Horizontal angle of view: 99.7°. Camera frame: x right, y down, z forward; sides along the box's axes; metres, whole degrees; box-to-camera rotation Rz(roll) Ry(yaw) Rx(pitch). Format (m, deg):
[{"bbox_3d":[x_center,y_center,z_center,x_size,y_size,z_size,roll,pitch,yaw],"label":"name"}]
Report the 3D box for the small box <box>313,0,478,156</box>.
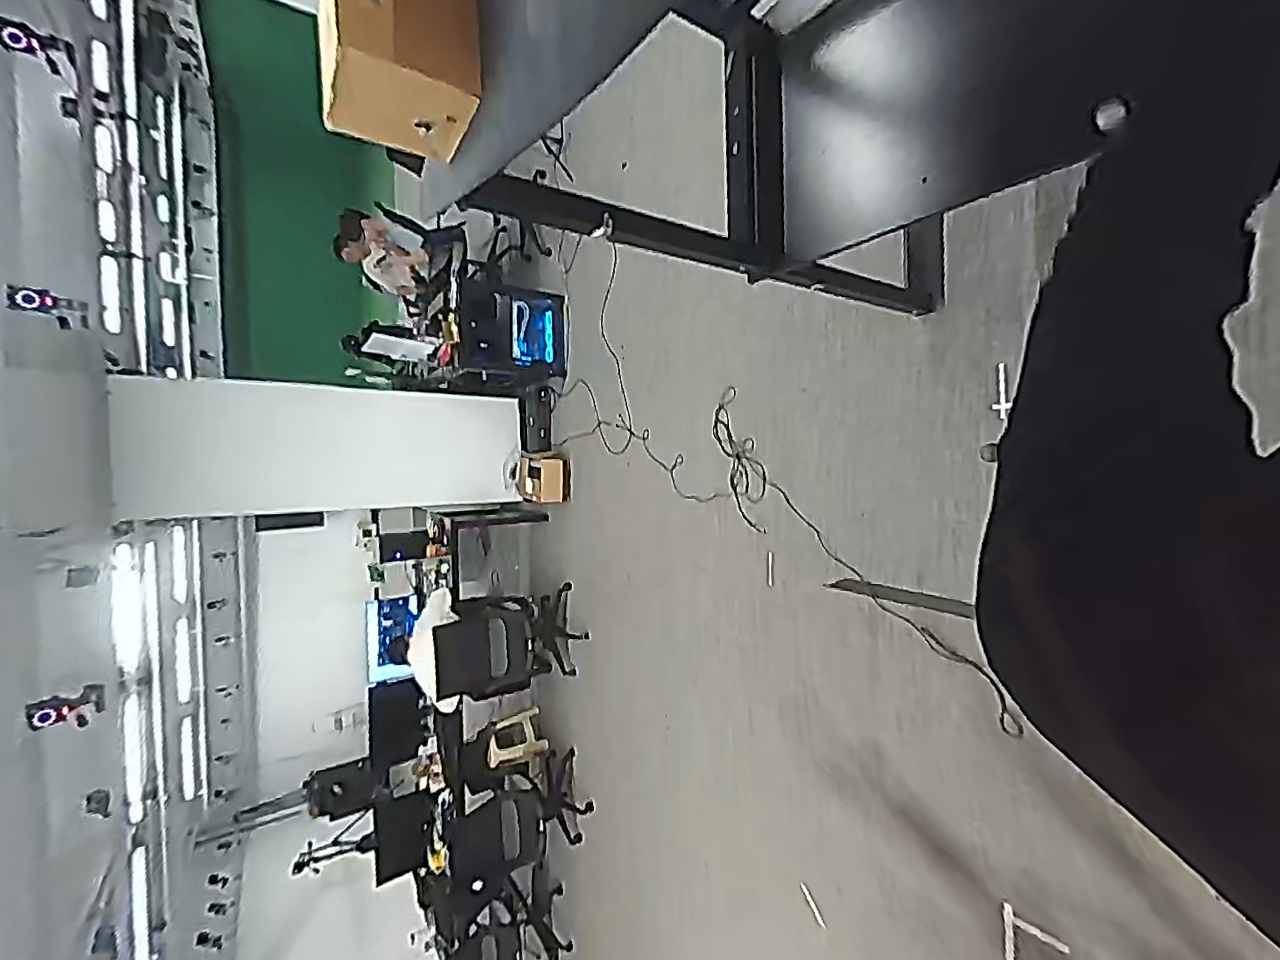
[{"bbox_3d":[-0.321,-0.569,0.709,0.168,0.176,0.179,-5,89,56],"label":"small box"}]
